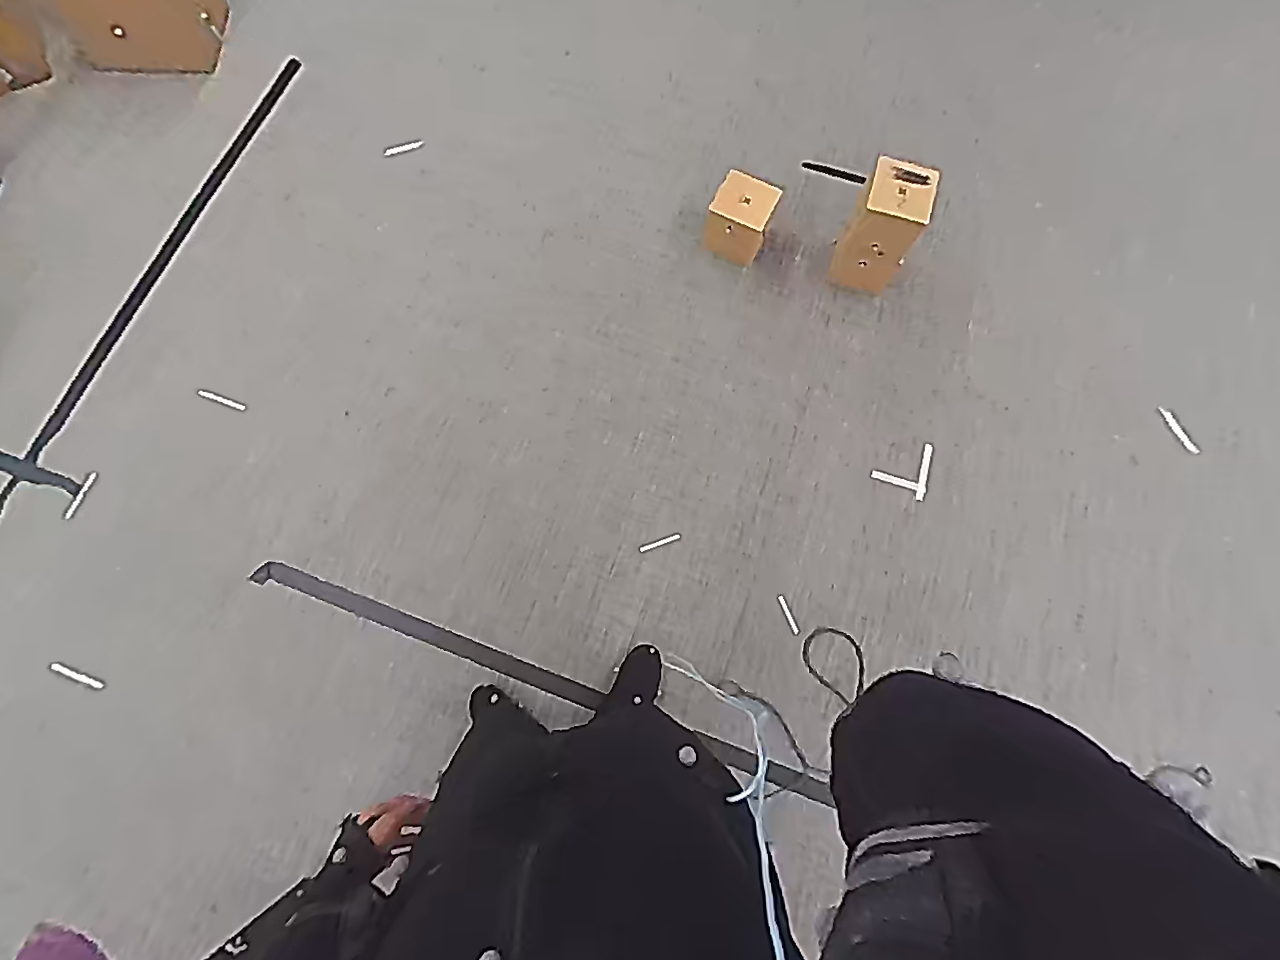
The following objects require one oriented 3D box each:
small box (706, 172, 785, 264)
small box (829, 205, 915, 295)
[{"bbox_3d":[0.322,-0.805,1.683,0.179,0.176,0.168,27,78,7],"label":"small box"},{"bbox_3d":[0.702,-0.696,1.656,0.179,0.176,0.168,18,77,3],"label":"small box"}]
